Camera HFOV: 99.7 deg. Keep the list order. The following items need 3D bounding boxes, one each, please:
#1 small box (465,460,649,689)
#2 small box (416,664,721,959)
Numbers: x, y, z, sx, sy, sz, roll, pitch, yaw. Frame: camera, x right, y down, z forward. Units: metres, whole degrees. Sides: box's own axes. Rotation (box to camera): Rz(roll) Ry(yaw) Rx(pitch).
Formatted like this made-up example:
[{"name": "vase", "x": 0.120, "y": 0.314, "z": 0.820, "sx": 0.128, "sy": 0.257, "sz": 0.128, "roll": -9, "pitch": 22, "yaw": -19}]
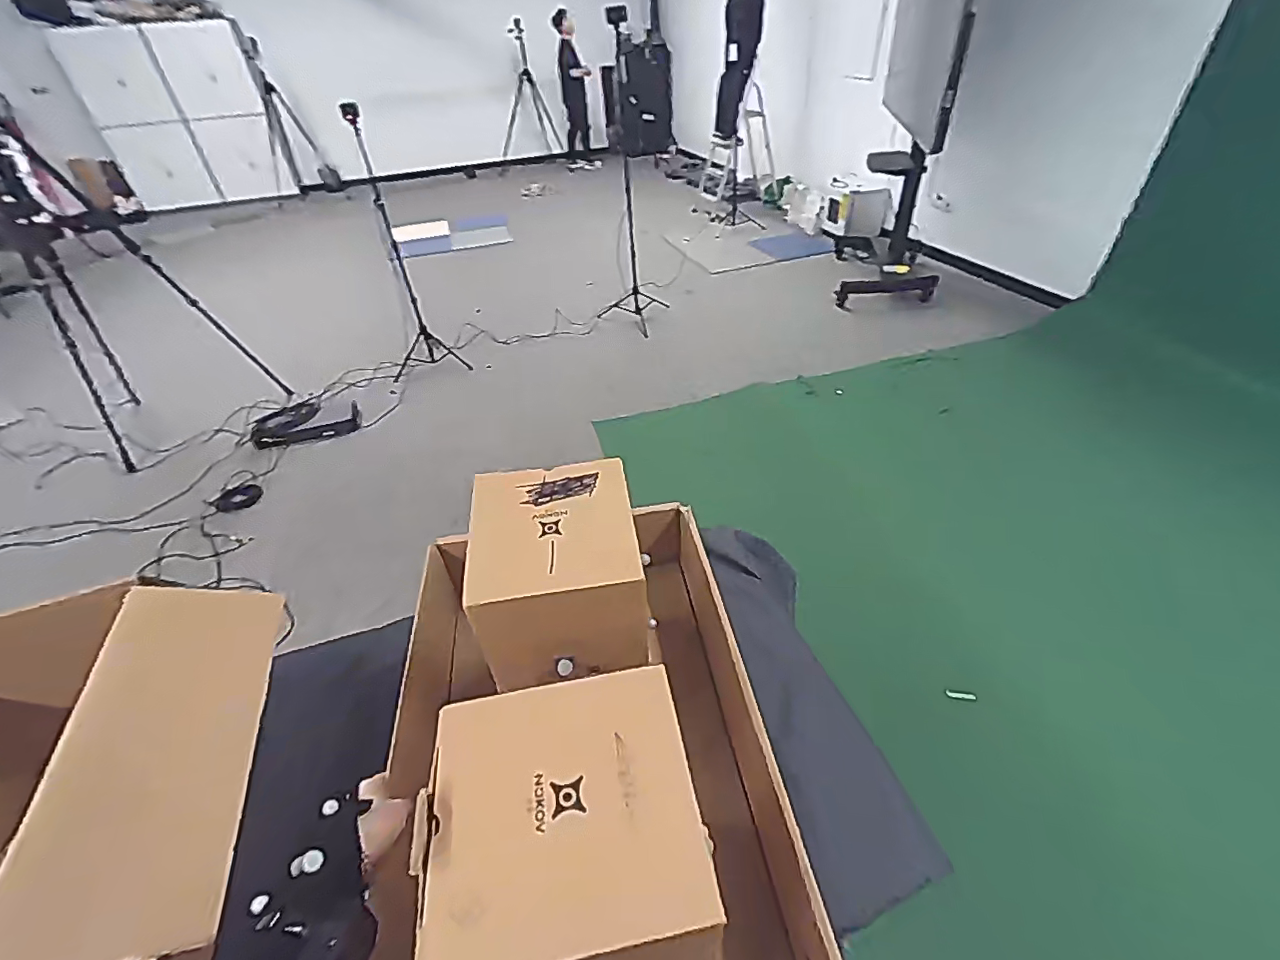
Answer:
[{"name": "small box", "x": -0.083, "y": 0.102, "z": 0.597, "sx": 0.168, "sy": 0.176, "sz": 0.179, "roll": -8, "pitch": 44, "yaw": -5}, {"name": "small box", "x": -0.047, "y": 0.270, "z": 0.410, "sx": 0.179, "sy": 0.176, "sz": 0.168, "roll": -8, "pitch": 41, "yaw": -7}]
